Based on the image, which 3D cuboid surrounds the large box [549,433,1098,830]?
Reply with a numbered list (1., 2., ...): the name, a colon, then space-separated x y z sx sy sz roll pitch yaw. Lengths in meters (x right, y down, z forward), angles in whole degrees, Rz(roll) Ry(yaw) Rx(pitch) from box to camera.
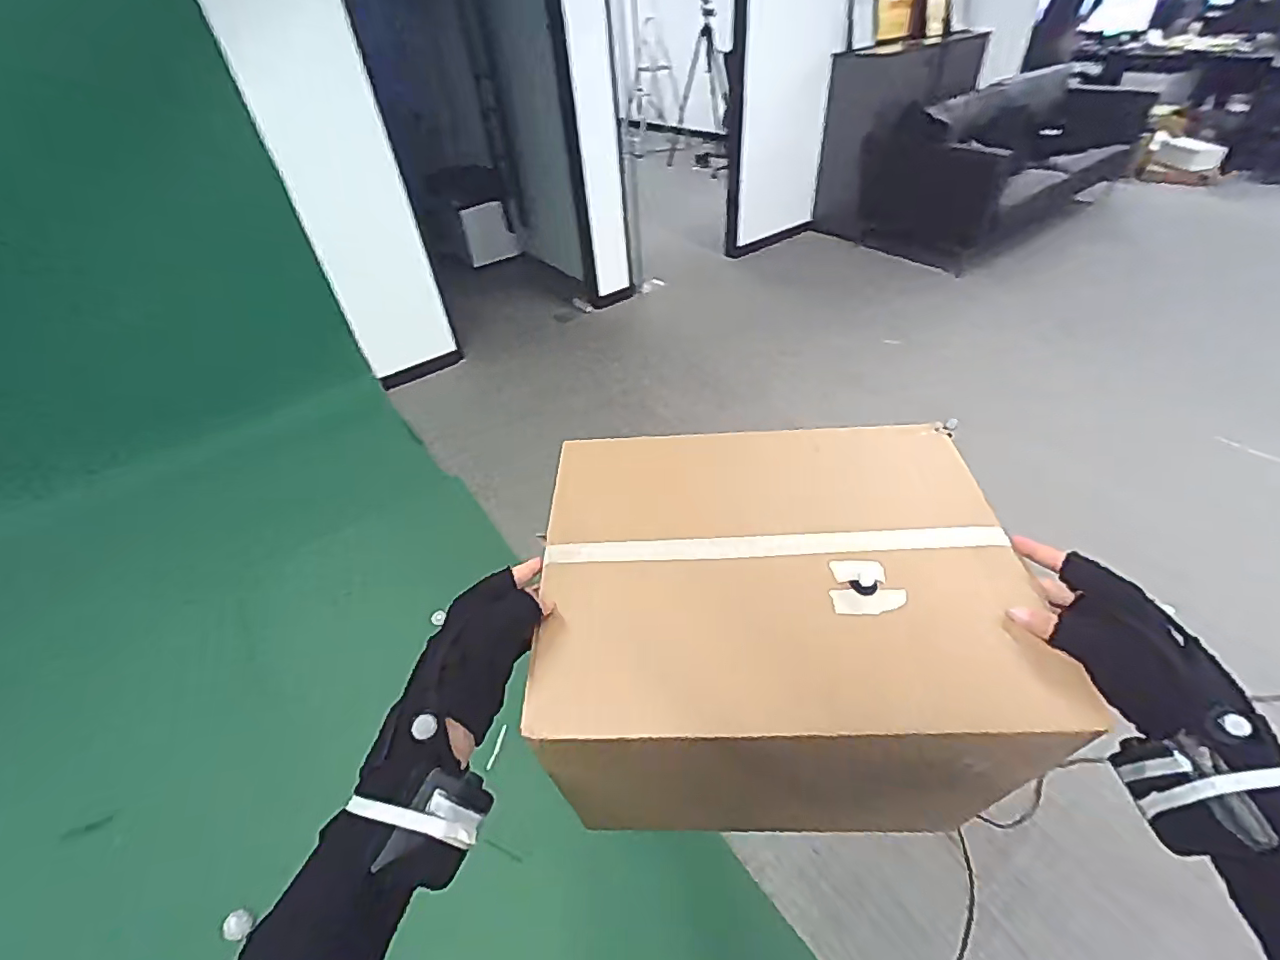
1. large box: 0.136 0.170 0.597 0.408 0.320 0.320 -2 47 3
